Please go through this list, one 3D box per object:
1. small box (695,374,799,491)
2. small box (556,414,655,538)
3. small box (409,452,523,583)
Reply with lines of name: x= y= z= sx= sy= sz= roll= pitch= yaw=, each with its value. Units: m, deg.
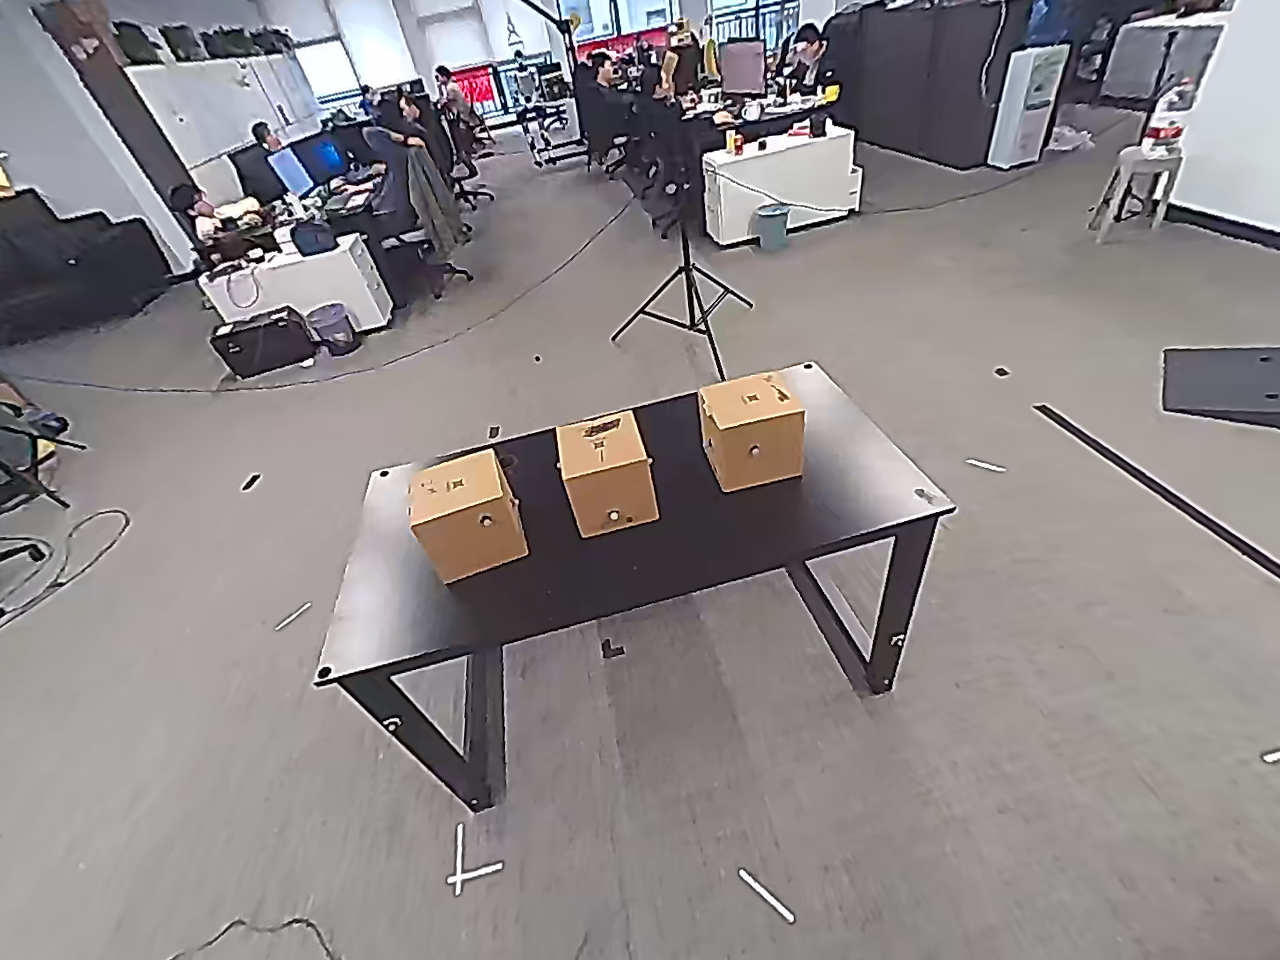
small box: x=0.228 y=-0.097 z=1.155 sx=0.179 sy=0.176 sz=0.168 roll=-14 pitch=41 yaw=0
small box: x=-0.072 y=-0.008 z=1.128 sx=0.168 sy=0.176 sz=0.179 roll=-14 pitch=41 yaw=-2
small box: x=-0.348 y=0.076 z=1.099 sx=0.179 sy=0.176 sz=0.168 roll=-20 pitch=41 yaw=-8
